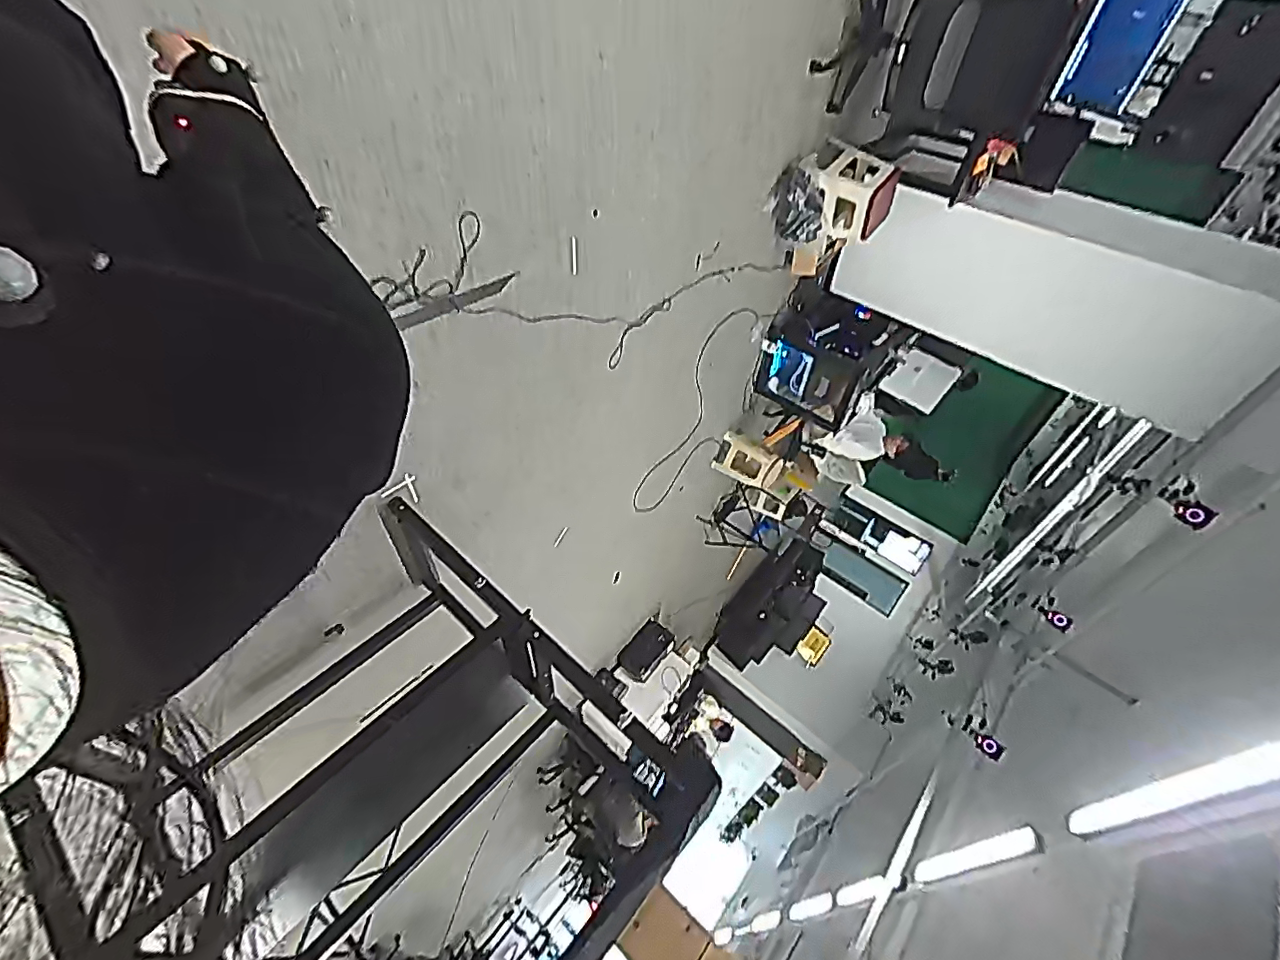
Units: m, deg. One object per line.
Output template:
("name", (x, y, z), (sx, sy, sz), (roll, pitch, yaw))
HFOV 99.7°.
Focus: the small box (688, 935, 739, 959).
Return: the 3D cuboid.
("small box", (0.173, 1.177, 1.221), (0.168, 0.176, 0.179), (-38, 152, -33))
